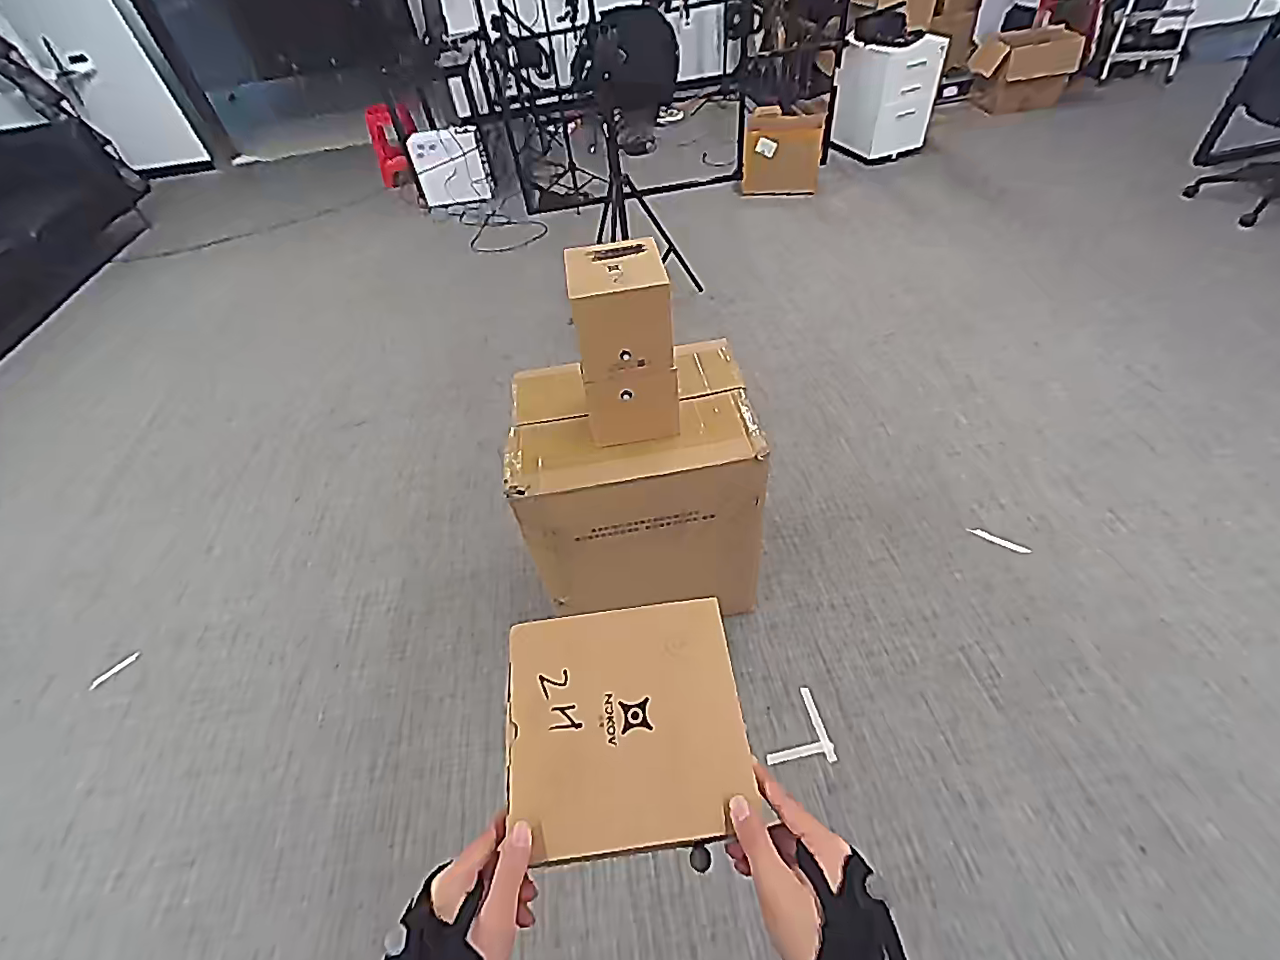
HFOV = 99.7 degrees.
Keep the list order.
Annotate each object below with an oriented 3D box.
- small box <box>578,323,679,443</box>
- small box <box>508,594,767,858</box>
[{"bbox_3d":[-0.023,-0.192,1.095,0.179,0.176,0.168,-9,48,-1],"label":"small box"},{"bbox_3d":[-0.006,0.216,0.467,0.179,0.176,0.168,-8,55,-1],"label":"small box"}]
